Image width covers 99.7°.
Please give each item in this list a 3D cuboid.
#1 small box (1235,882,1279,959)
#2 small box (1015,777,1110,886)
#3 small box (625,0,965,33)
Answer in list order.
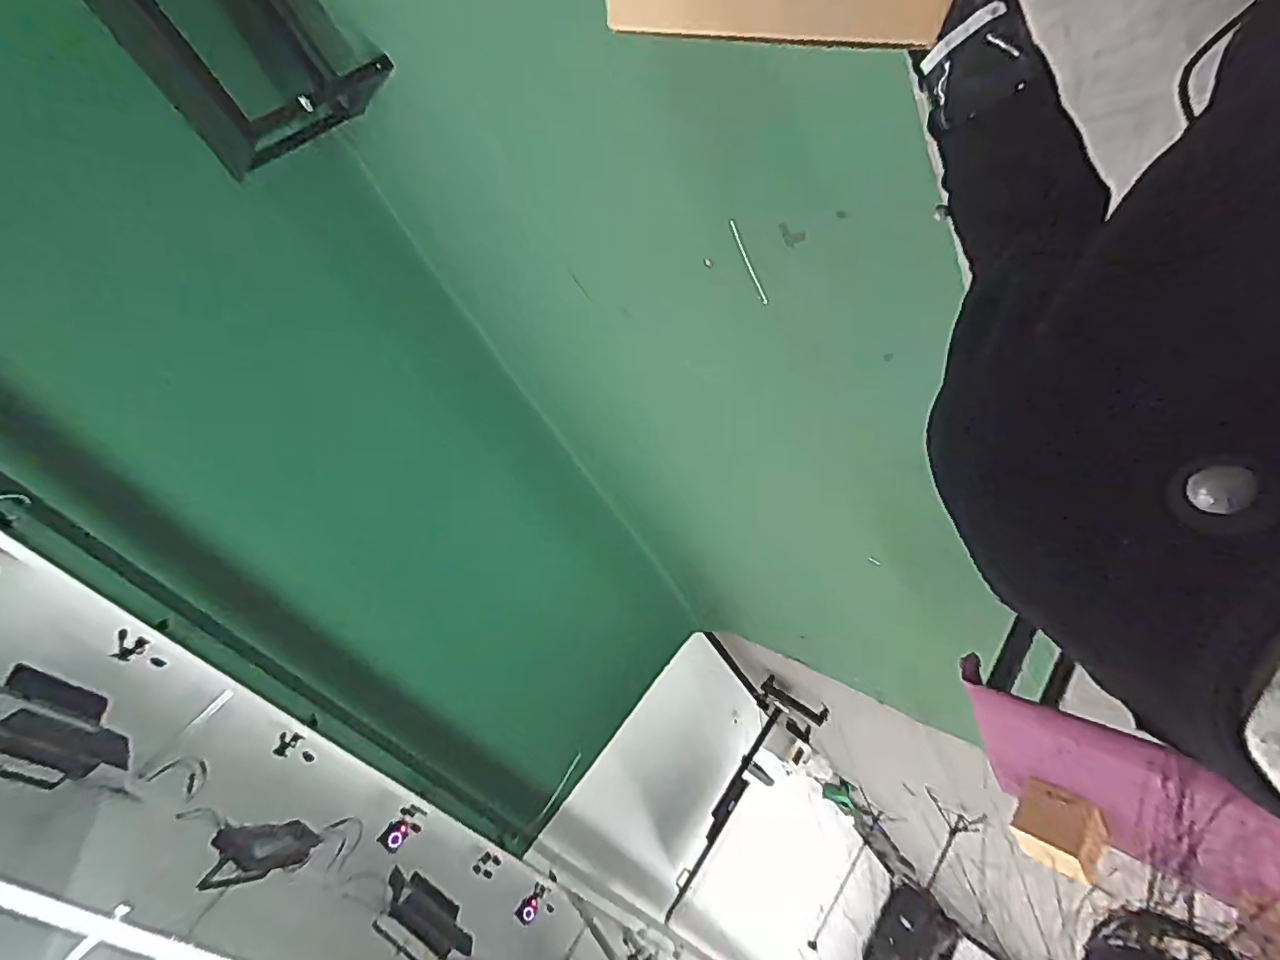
[{"bbox_3d":[1.491,1.070,1.223,0.179,0.176,0.168,10,139,52],"label":"small box"},{"bbox_3d":[1.219,1.003,1.554,0.168,0.176,0.179,4,135,54],"label":"small box"},{"bbox_3d":[0.082,-0.341,0.234,0.179,0.168,0.176,8,159,7],"label":"small box"}]
